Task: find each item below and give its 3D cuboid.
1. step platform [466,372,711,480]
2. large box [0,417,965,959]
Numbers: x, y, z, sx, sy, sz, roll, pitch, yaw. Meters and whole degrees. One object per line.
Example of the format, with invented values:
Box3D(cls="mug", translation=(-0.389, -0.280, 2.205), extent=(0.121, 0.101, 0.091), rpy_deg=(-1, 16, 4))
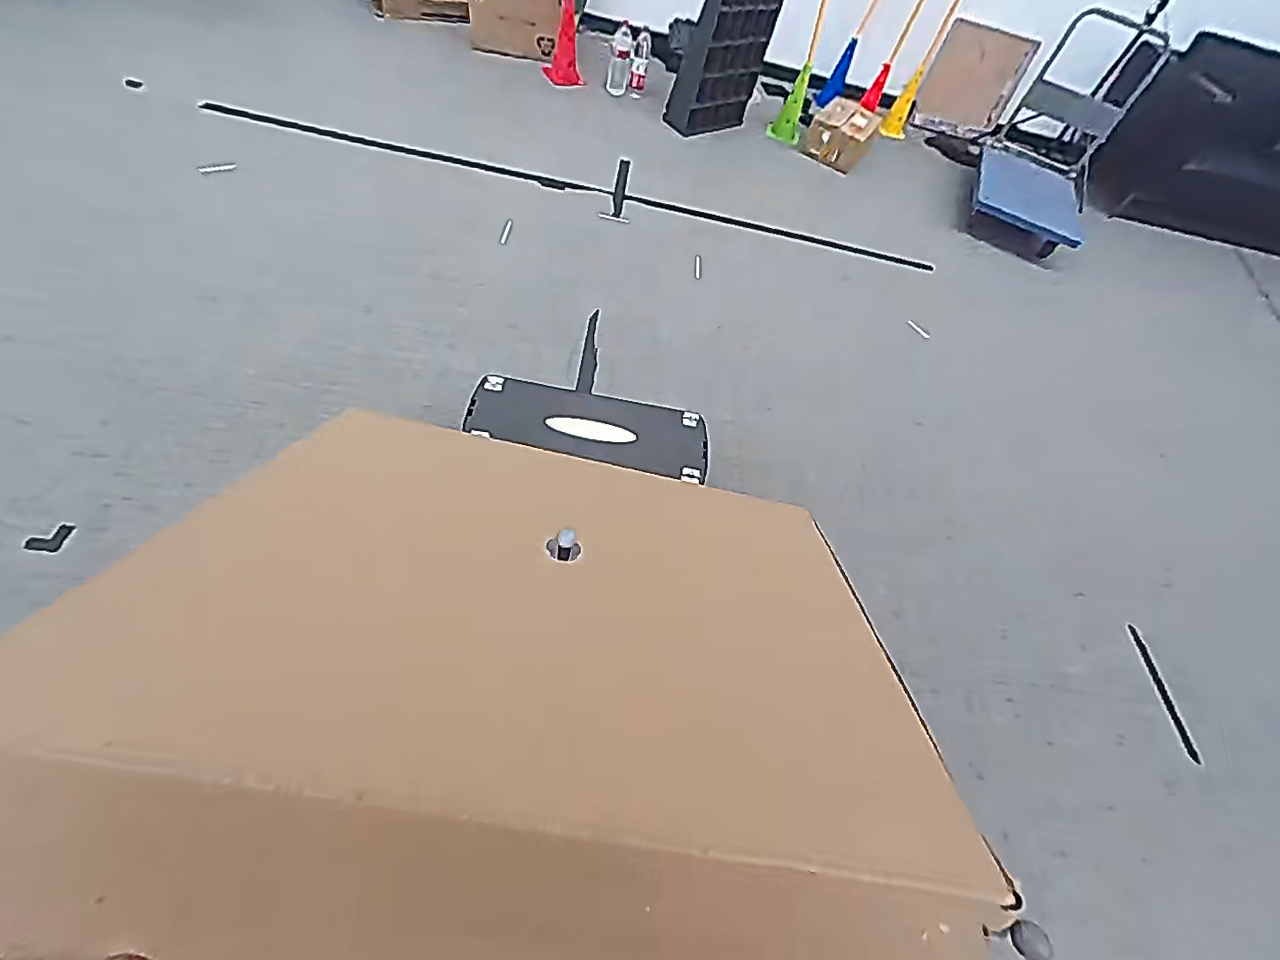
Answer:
Box3D(cls="step platform", translation=(-0.139, -0.083, 1.550), extent=(0.684, 0.204, 0.286), rpy_deg=(14, 55, -5))
Box3D(cls="large box", translation=(-0.095, 0.176, 0.394), extent=(0.408, 0.320, 0.320), rpy_deg=(11, 29, -6))
